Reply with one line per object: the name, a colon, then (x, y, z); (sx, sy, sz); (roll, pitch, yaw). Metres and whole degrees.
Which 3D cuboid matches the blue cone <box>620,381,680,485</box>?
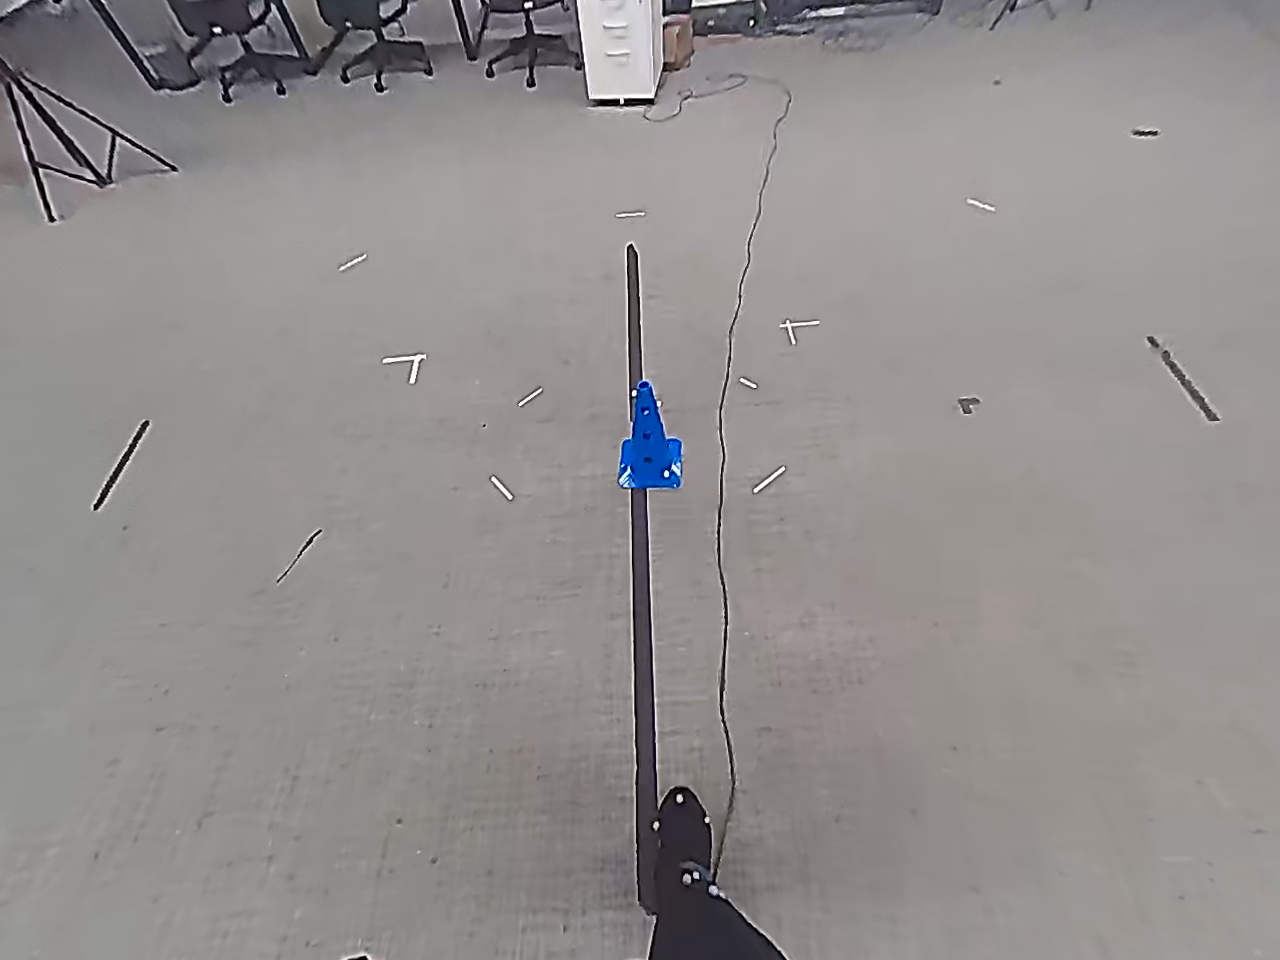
blue cone: (0.023, -0.157, 1.616); (0.193, 0.380, 0.192); (-1, 55, 3)
